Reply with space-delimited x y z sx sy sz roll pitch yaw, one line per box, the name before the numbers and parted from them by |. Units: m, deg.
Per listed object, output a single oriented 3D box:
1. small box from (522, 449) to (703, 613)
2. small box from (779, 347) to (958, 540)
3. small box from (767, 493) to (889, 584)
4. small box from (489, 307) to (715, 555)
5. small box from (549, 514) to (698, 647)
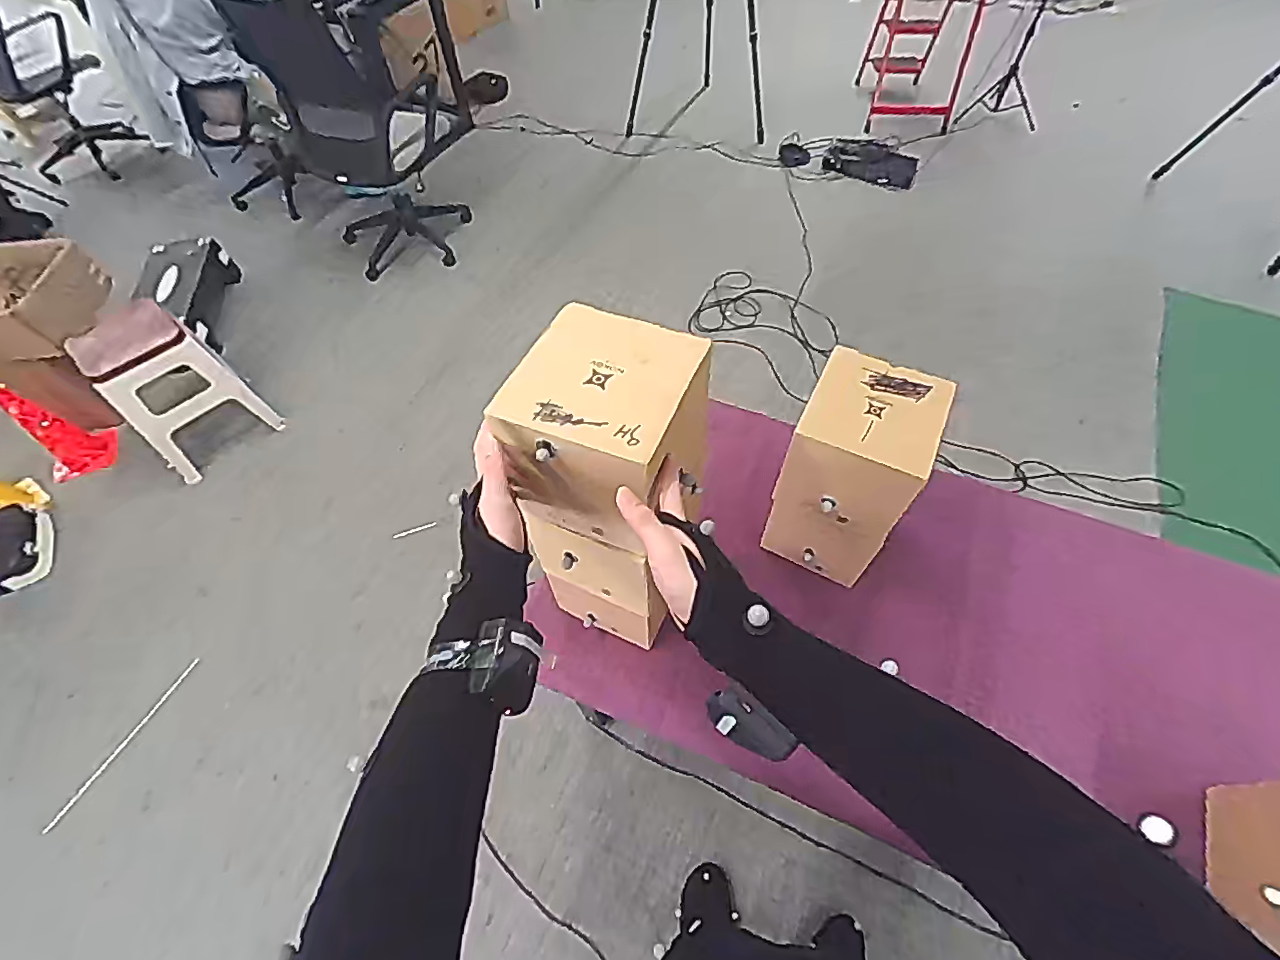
small box | -0.026 0.048 0.714 0.168 0.176 0.179 21 58 17
small box | 0.309 -0.048 0.758 0.168 0.176 0.179 23 61 17
small box | 0.324 0.040 0.896 0.168 0.176 0.179 25 62 18
small box | -0.031 -0.051 0.582 0.168 0.176 0.179 18 56 16
small box | -0.021 0.132 0.852 0.168 0.176 0.179 20 59 16
